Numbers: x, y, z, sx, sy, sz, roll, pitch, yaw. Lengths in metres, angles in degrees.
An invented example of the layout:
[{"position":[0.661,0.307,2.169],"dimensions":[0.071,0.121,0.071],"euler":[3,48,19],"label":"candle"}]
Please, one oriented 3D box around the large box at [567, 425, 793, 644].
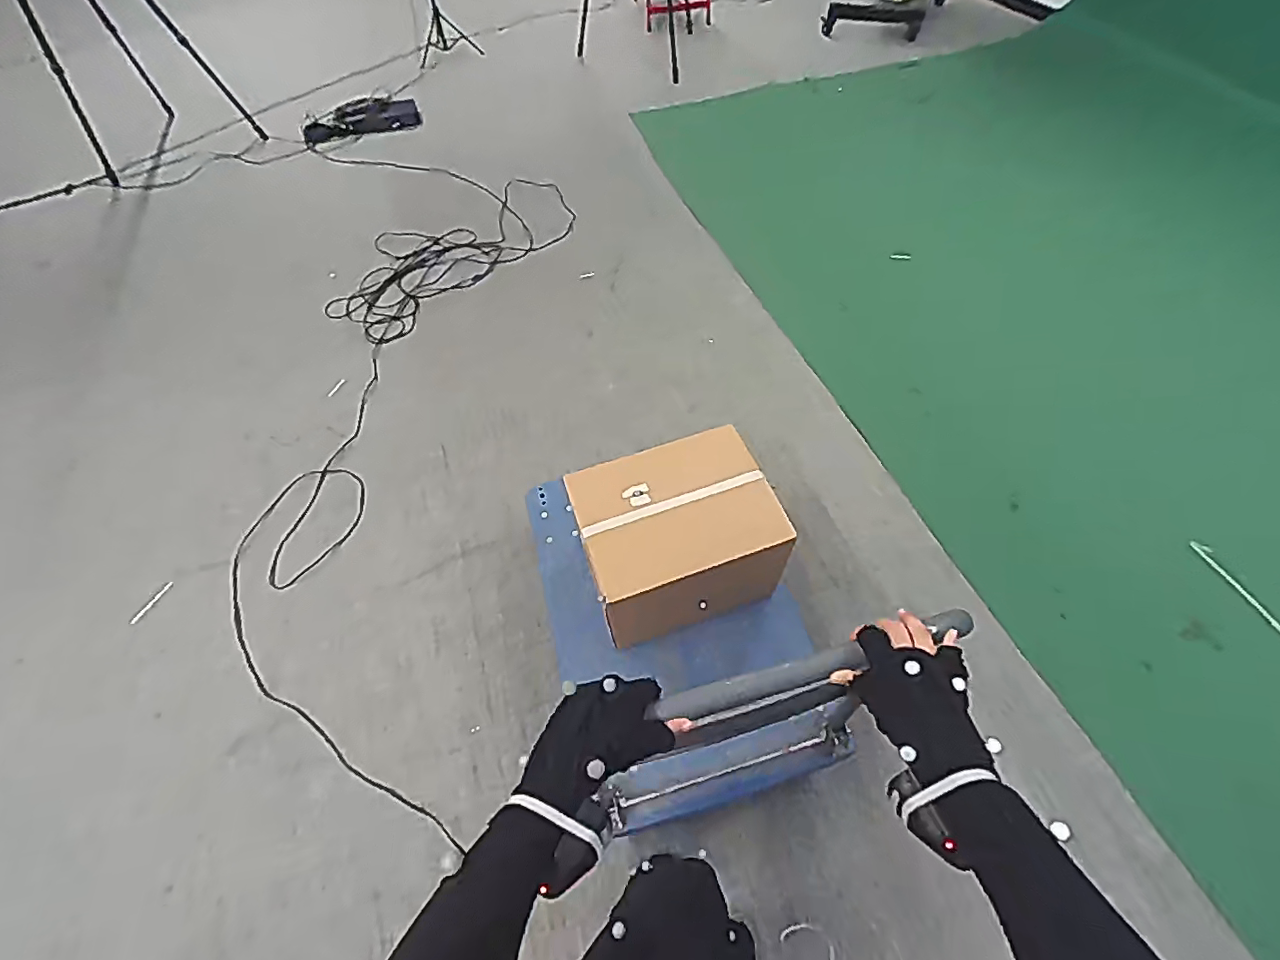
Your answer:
[{"position":[0.084,0.135,1.265],"dimensions":[0.408,0.320,0.320],"euler":[-20,58,-8],"label":"large box"}]
